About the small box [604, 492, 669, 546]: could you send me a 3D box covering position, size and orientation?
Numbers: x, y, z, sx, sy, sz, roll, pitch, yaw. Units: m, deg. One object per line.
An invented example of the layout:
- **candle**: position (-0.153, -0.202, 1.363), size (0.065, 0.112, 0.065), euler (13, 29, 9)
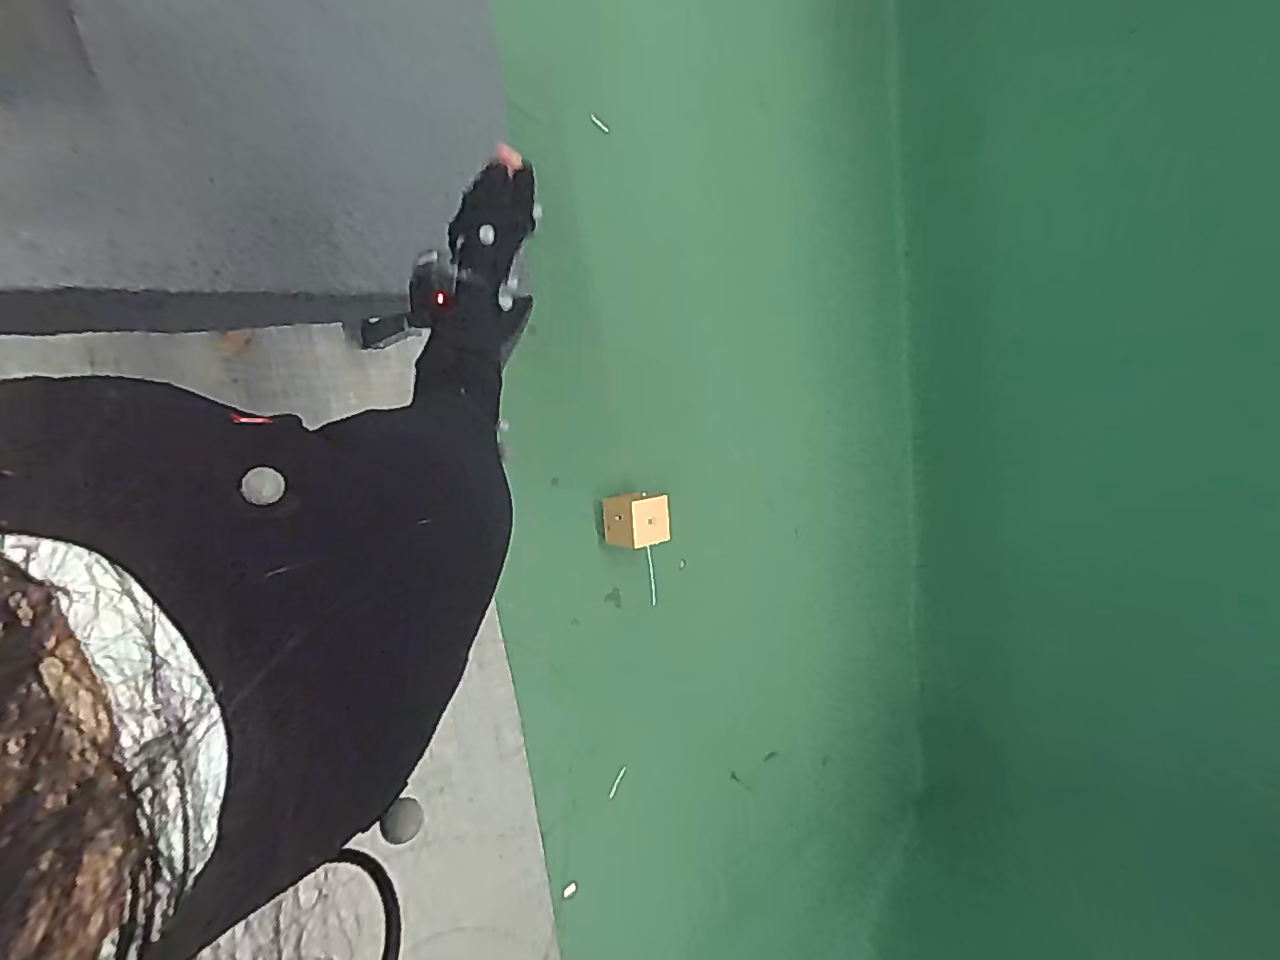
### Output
- **small box**: position (-0.019, 0.137, 1.950), size (0.179, 0.176, 0.168), euler (-10, 98, -42)
